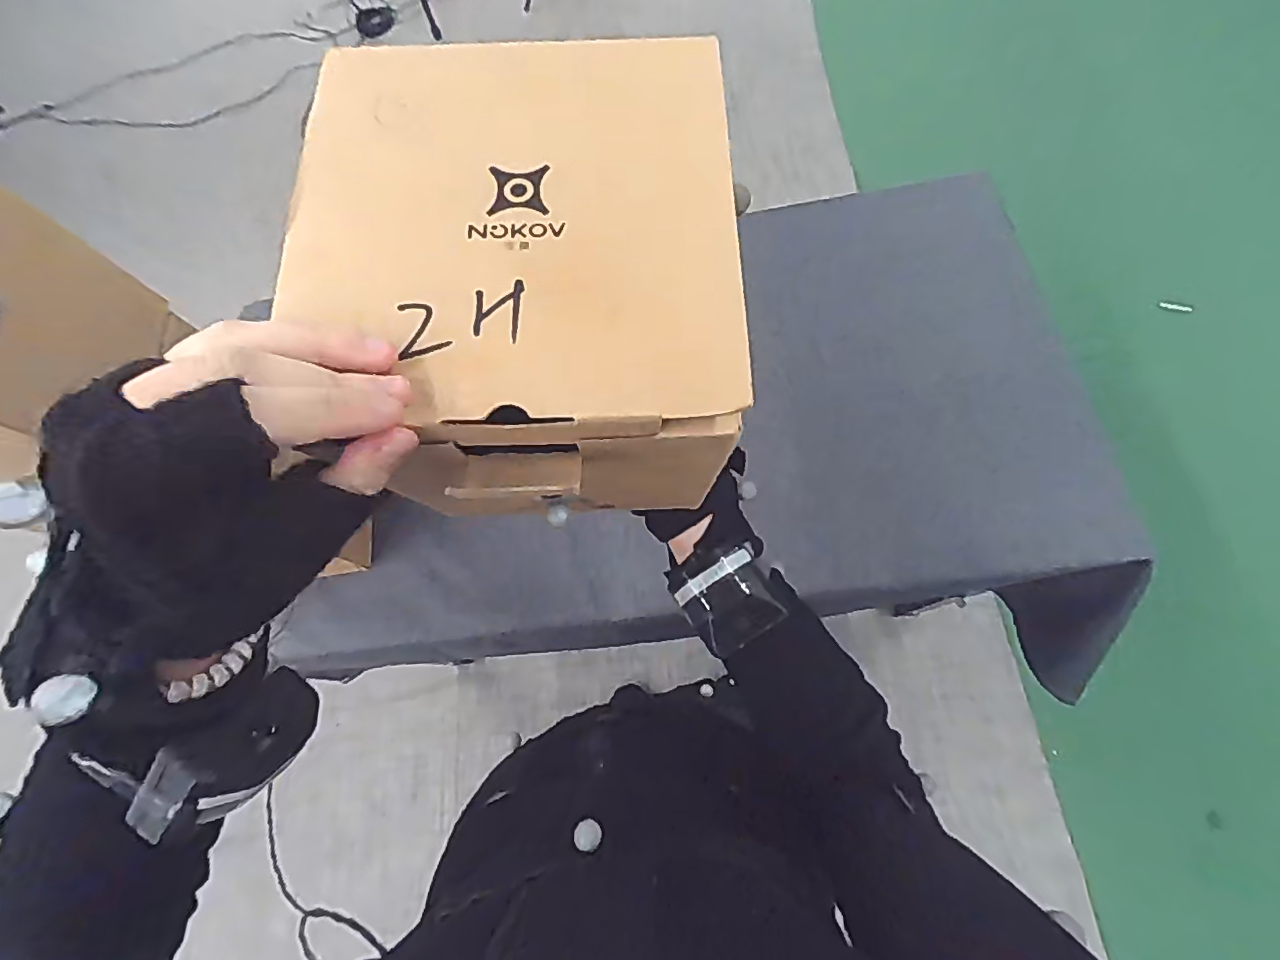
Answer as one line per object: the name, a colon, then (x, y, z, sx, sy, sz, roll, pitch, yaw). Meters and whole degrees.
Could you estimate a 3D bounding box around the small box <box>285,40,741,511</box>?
small box: (-0.045, -0.084, 0.288, 0.168, 0.176, 0.179, -1, 78, 1)

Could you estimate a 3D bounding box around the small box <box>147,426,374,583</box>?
small box: (-0.468, 0.024, 0.699, 0.168, 0.176, 0.179, -10, 69, 4)

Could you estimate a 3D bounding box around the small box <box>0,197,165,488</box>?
small box: (-0.508, -0.100, 0.399, 0.168, 0.176, 0.179, -10, 68, 3)

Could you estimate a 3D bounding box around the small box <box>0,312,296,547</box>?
small box: (-0.487, -0.036, 0.549, 0.168, 0.176, 0.179, -9, 69, 4)
